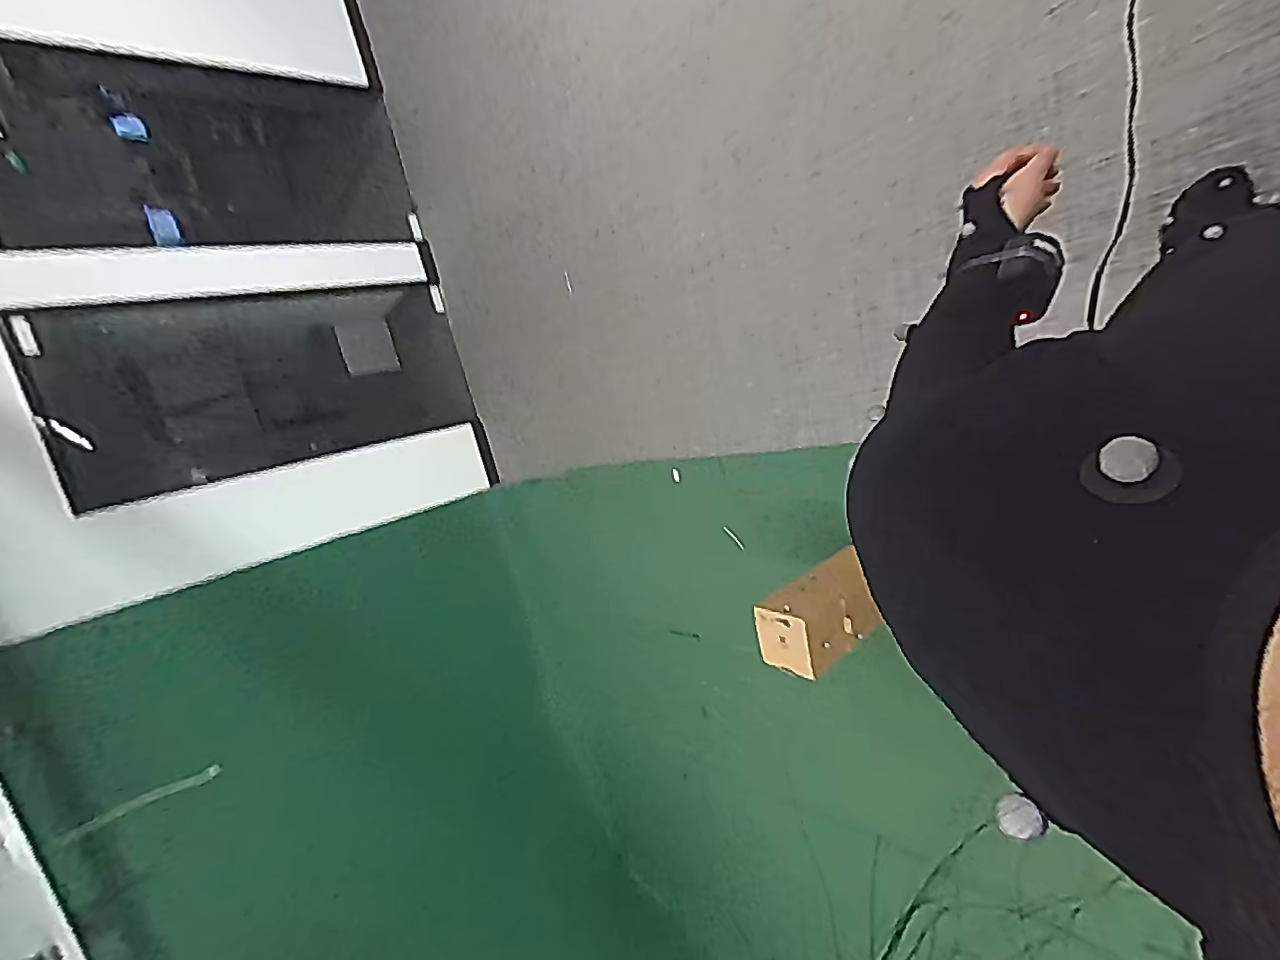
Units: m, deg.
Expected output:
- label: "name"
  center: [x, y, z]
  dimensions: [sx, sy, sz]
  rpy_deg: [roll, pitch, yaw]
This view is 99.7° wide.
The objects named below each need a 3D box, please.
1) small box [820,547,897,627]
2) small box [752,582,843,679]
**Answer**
- label: "small box"
  center: [0.679, 0.323, 1.677]
  dimensions: [0.168, 0.176, 0.179]
  rpy_deg: [9, 113, 50]
- label: "small box"
  center: [0.433, 0.403, 1.473]
  dimensions: [0.168, 0.176, 0.179]
  rpy_deg: [3, 109, 52]
